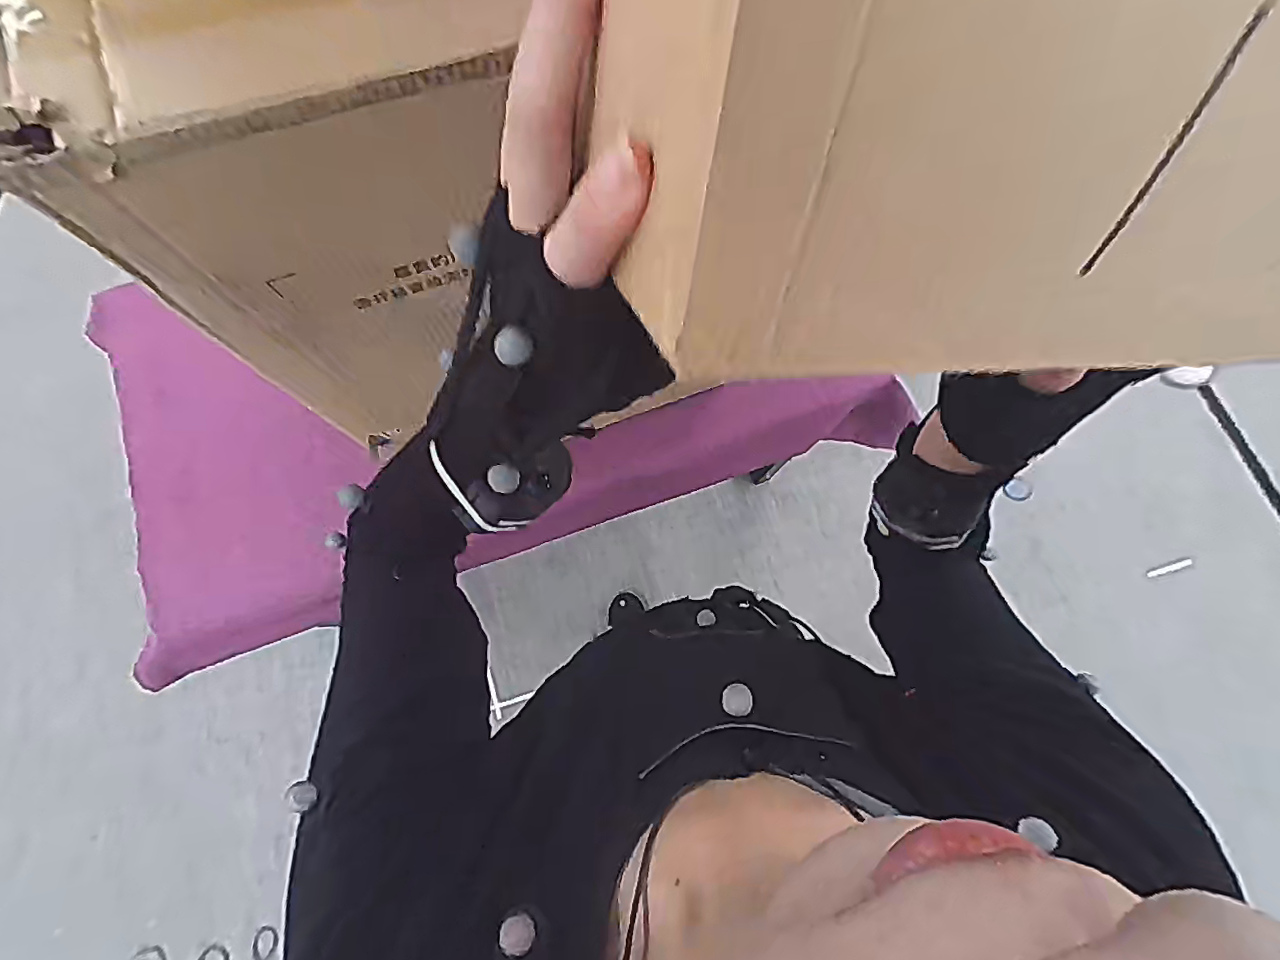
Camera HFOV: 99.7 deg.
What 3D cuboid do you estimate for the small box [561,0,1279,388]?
[{"bbox_3d":[0.073,-0.140,0.134,0.168,0.179,0.176,-4,38,-14],"label":"small box"}]
